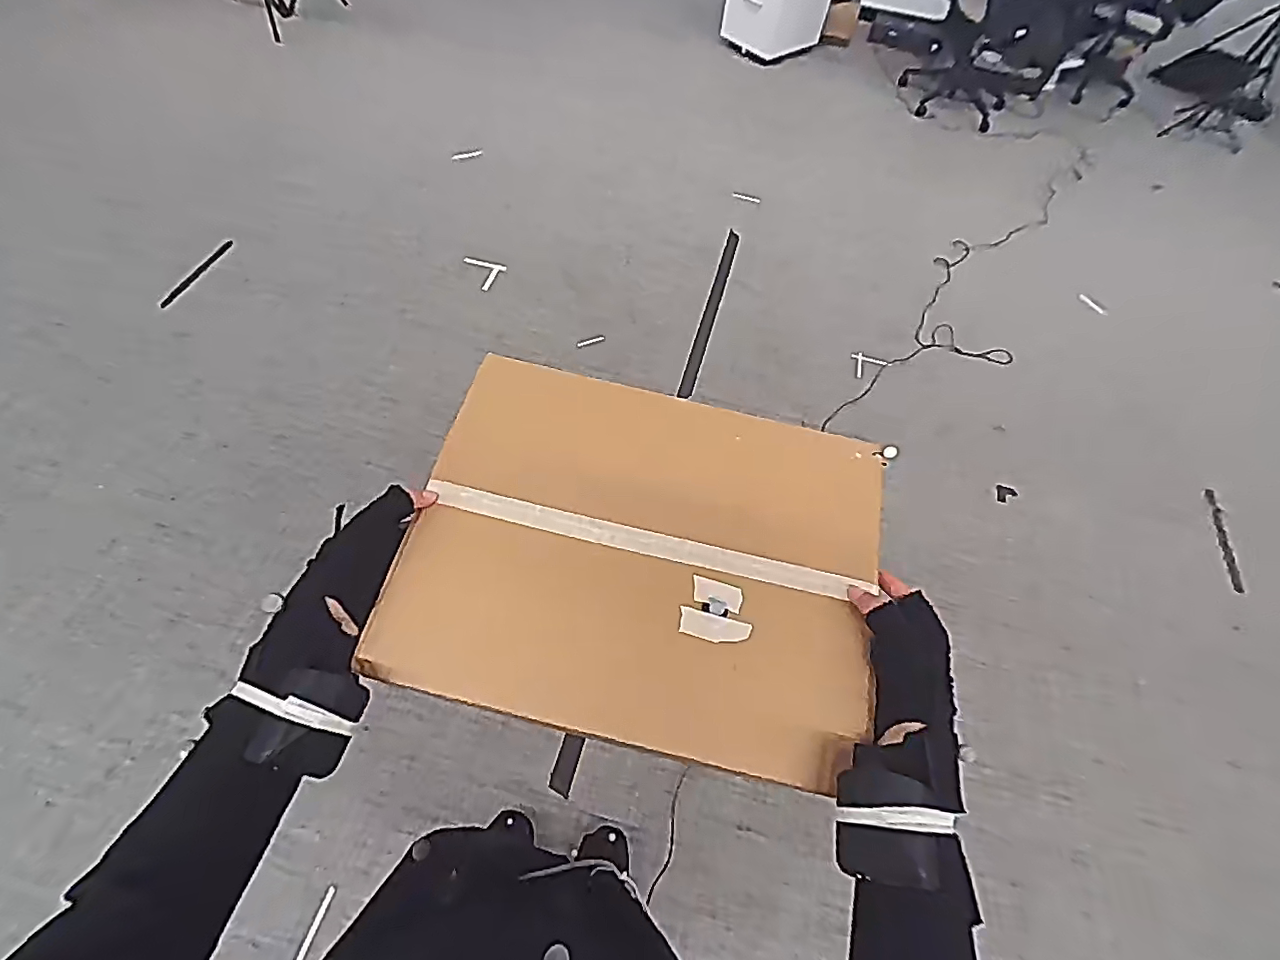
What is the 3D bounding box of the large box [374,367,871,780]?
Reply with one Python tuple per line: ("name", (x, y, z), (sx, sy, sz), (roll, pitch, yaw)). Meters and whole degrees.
("large box", (-0.003, 0.121, 0.621), (0.408, 0.320, 0.320), (14, 65, 1))
